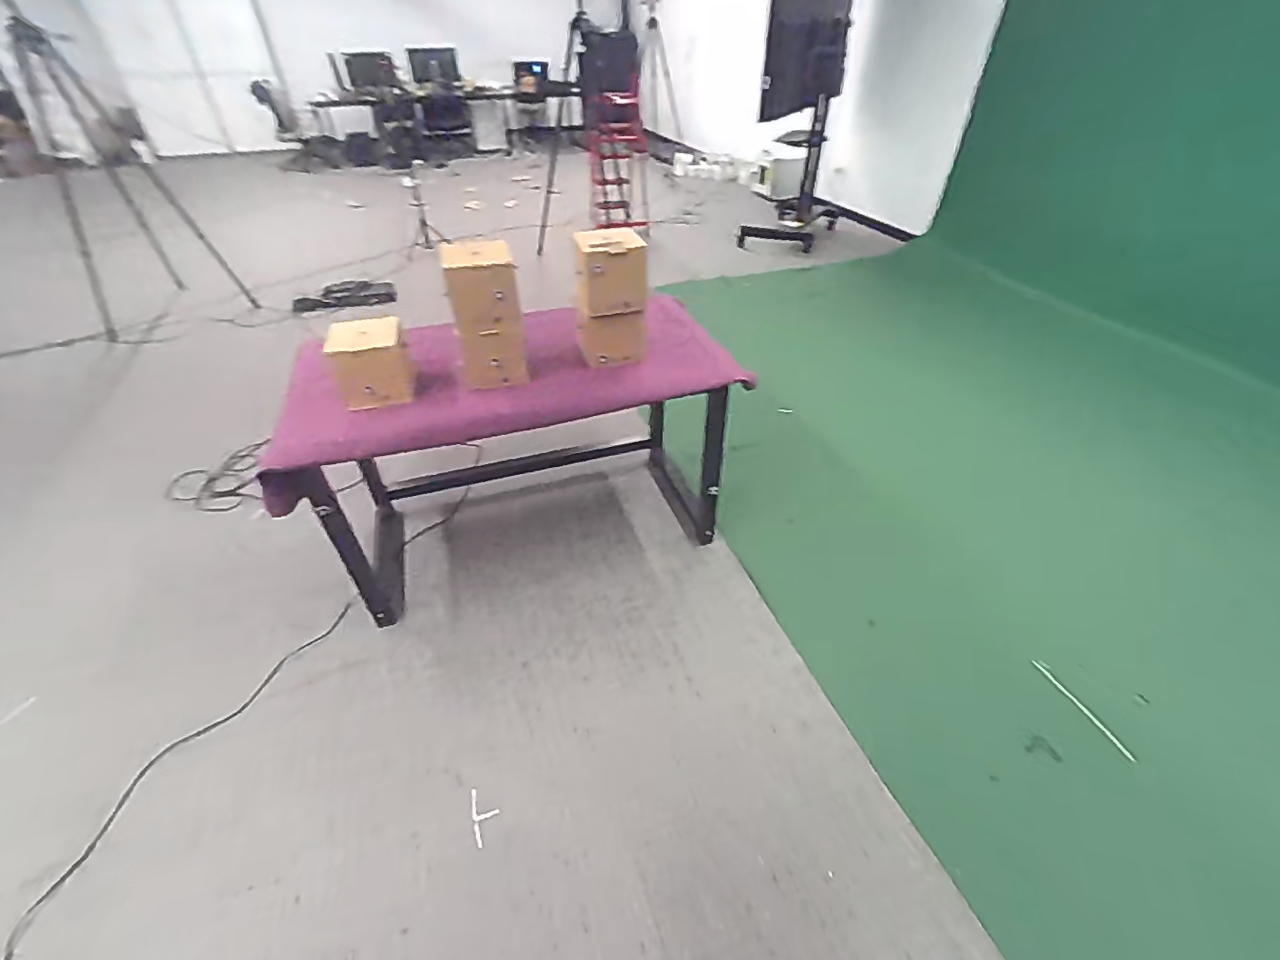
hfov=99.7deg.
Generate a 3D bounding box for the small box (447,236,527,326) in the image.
[{"bbox_3d":[-0.388,-0.502,1.376,0.168,0.176,0.179,-10,42,-12],"label":"small box"}]

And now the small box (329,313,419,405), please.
[{"bbox_3d":[-0.685,-0.317,1.414,0.168,0.176,0.179,-10,42,-12],"label":"small box"}]

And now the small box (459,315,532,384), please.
[{"bbox_3d":[-0.394,-0.375,1.480,0.168,0.176,0.179,-10,42,-12],"label":"small box"}]

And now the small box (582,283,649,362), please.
[{"bbox_3d":[-0.071,-0.451,1.565,0.168,0.176,0.179,-8,42,-12],"label":"small box"}]
